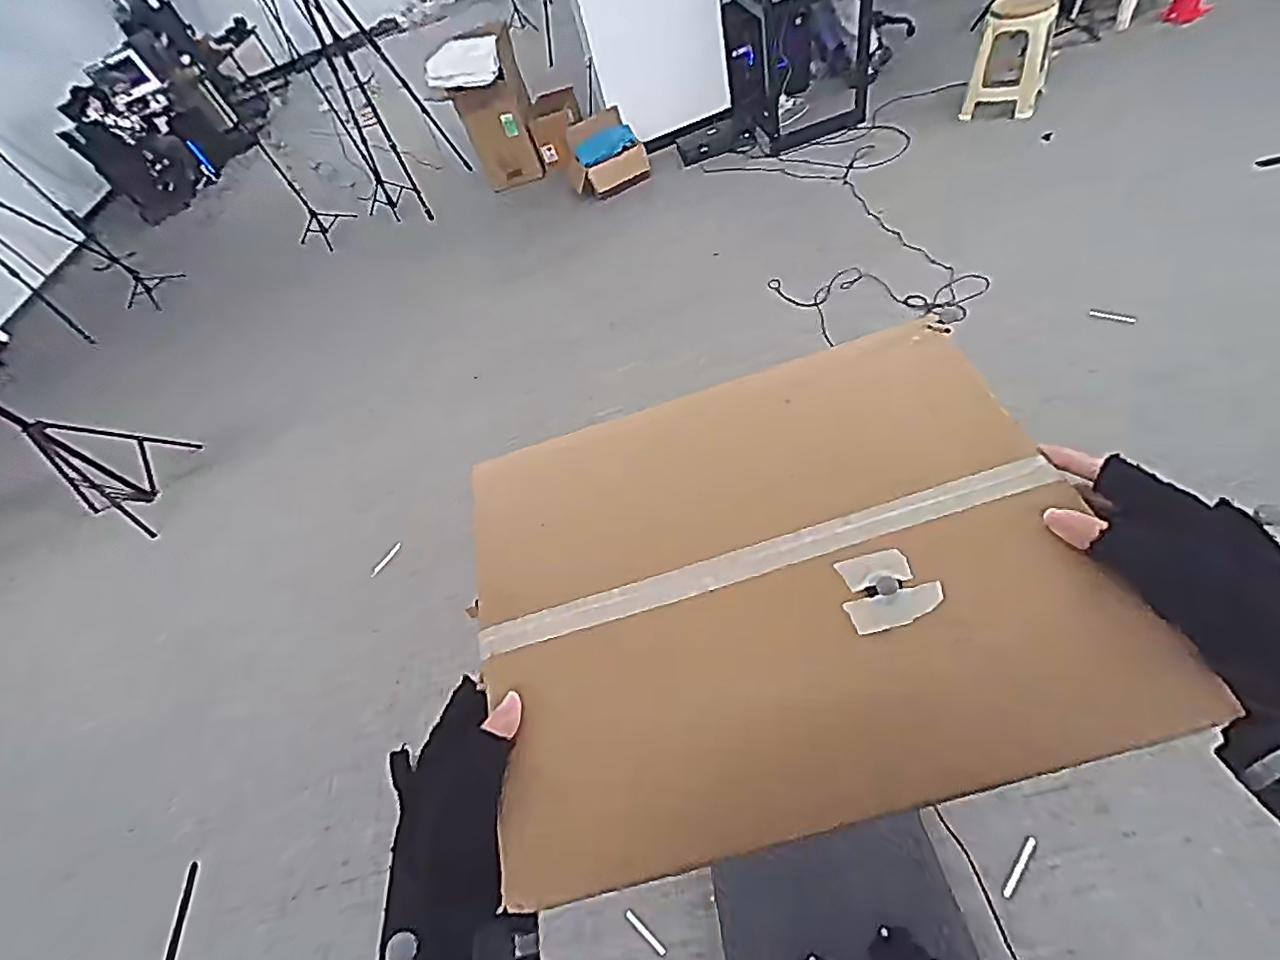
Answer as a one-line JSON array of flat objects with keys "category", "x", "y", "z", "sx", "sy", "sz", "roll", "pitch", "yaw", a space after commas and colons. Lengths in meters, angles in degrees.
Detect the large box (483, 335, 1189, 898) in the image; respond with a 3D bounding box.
[{"category": "large box", "x": 0.113, "y": 0.135, "z": 0.513, "sx": 0.408, "sy": 0.320, "sz": 0.320, "roll": -18, "pitch": 59, "yaw": 3}]
